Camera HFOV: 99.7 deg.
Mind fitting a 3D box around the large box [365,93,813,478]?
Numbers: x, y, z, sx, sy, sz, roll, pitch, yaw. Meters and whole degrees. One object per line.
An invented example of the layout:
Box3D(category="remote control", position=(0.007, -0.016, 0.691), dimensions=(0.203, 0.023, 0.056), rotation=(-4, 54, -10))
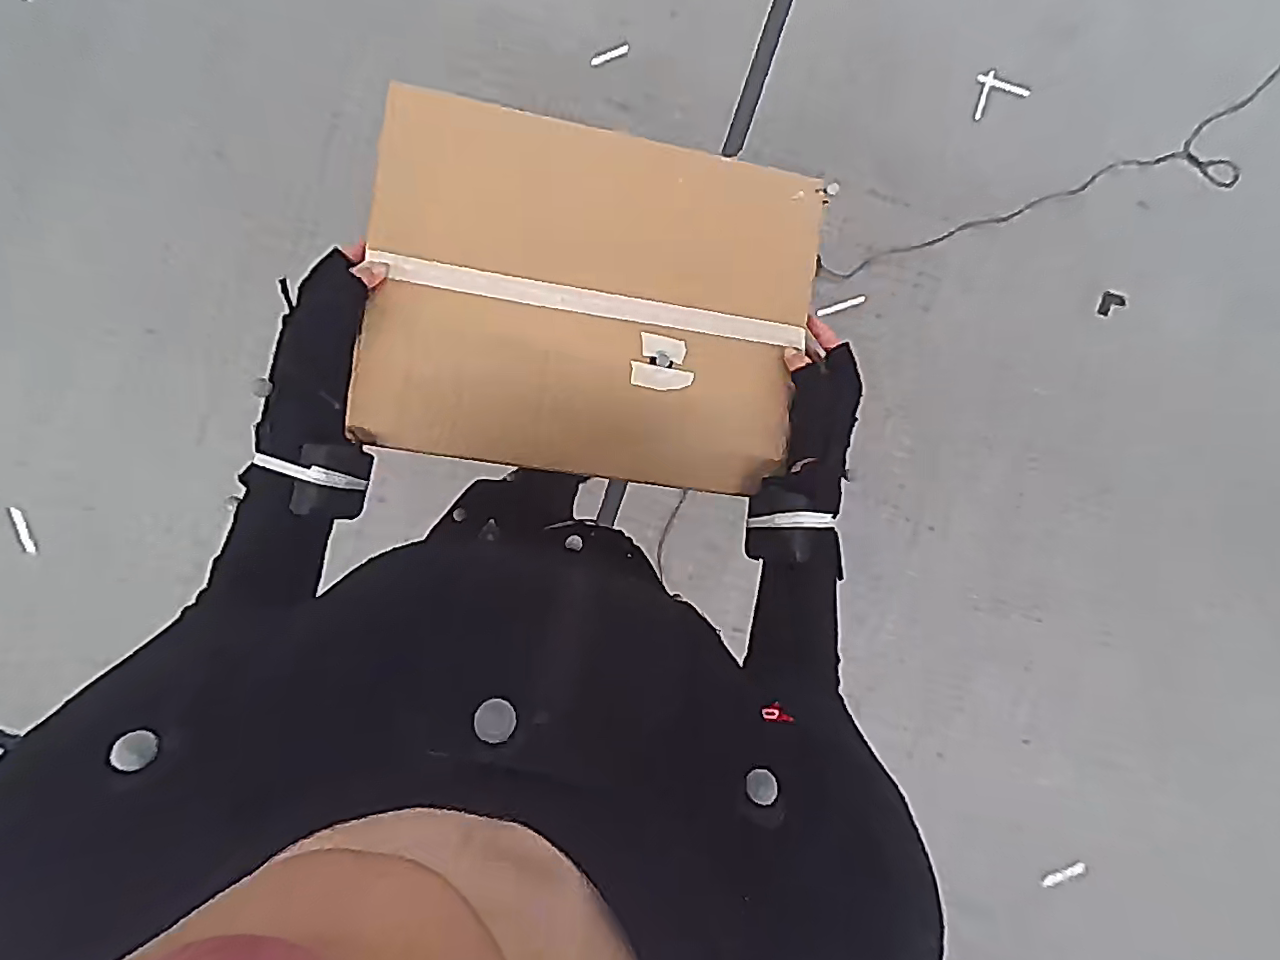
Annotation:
Box3D(category="large box", position=(-0.061, -0.179, 0.659), dimensions=(0.408, 0.320, 0.320), rotation=(7, 92, -9))
